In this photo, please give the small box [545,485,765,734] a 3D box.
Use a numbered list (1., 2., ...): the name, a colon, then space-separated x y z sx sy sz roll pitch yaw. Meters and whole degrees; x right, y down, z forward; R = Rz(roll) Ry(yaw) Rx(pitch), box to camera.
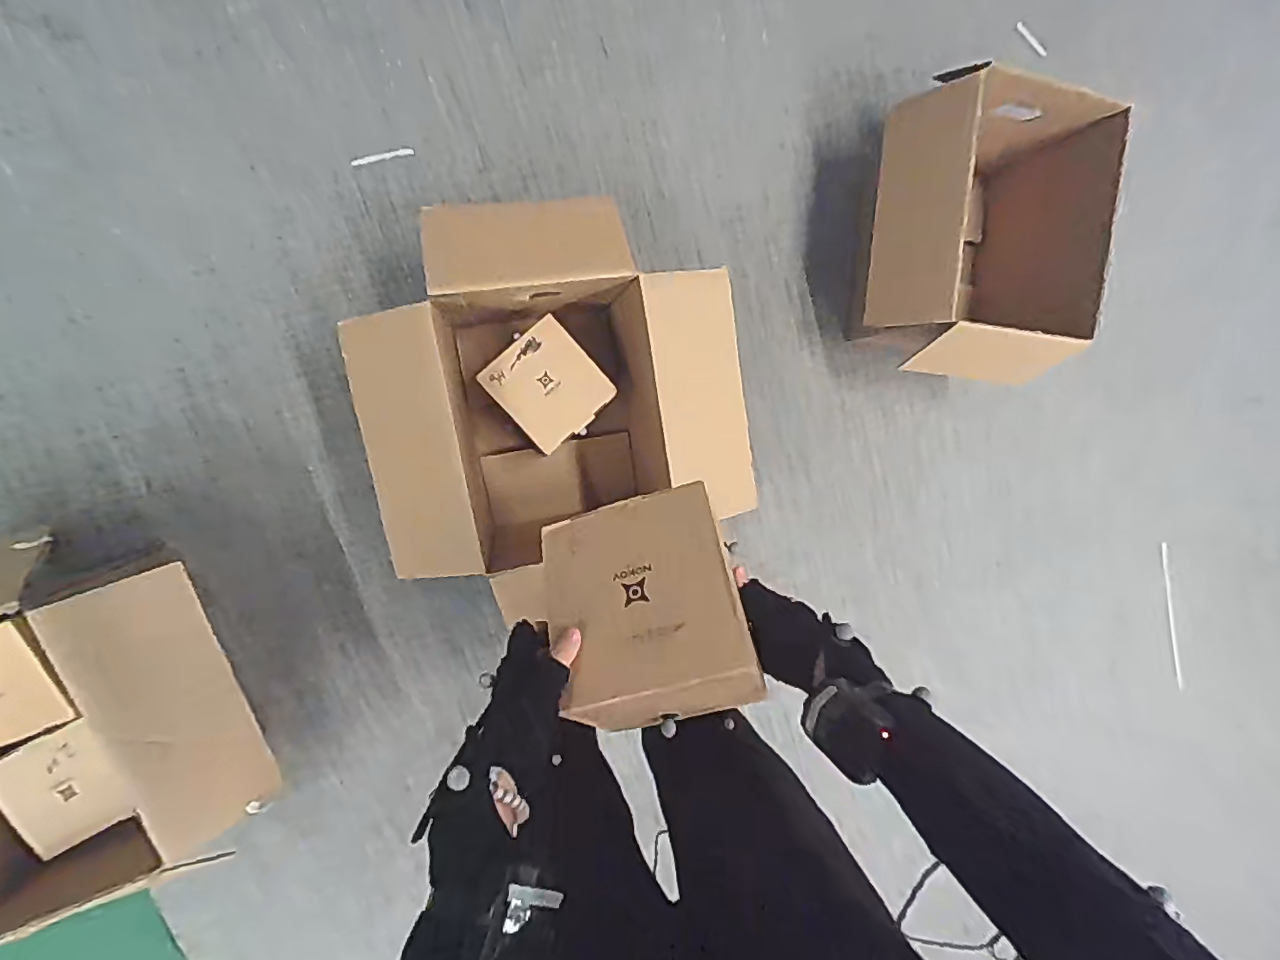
1. small box: 0.018 0.137 0.541 0.168 0.179 0.176 -17 146 9
